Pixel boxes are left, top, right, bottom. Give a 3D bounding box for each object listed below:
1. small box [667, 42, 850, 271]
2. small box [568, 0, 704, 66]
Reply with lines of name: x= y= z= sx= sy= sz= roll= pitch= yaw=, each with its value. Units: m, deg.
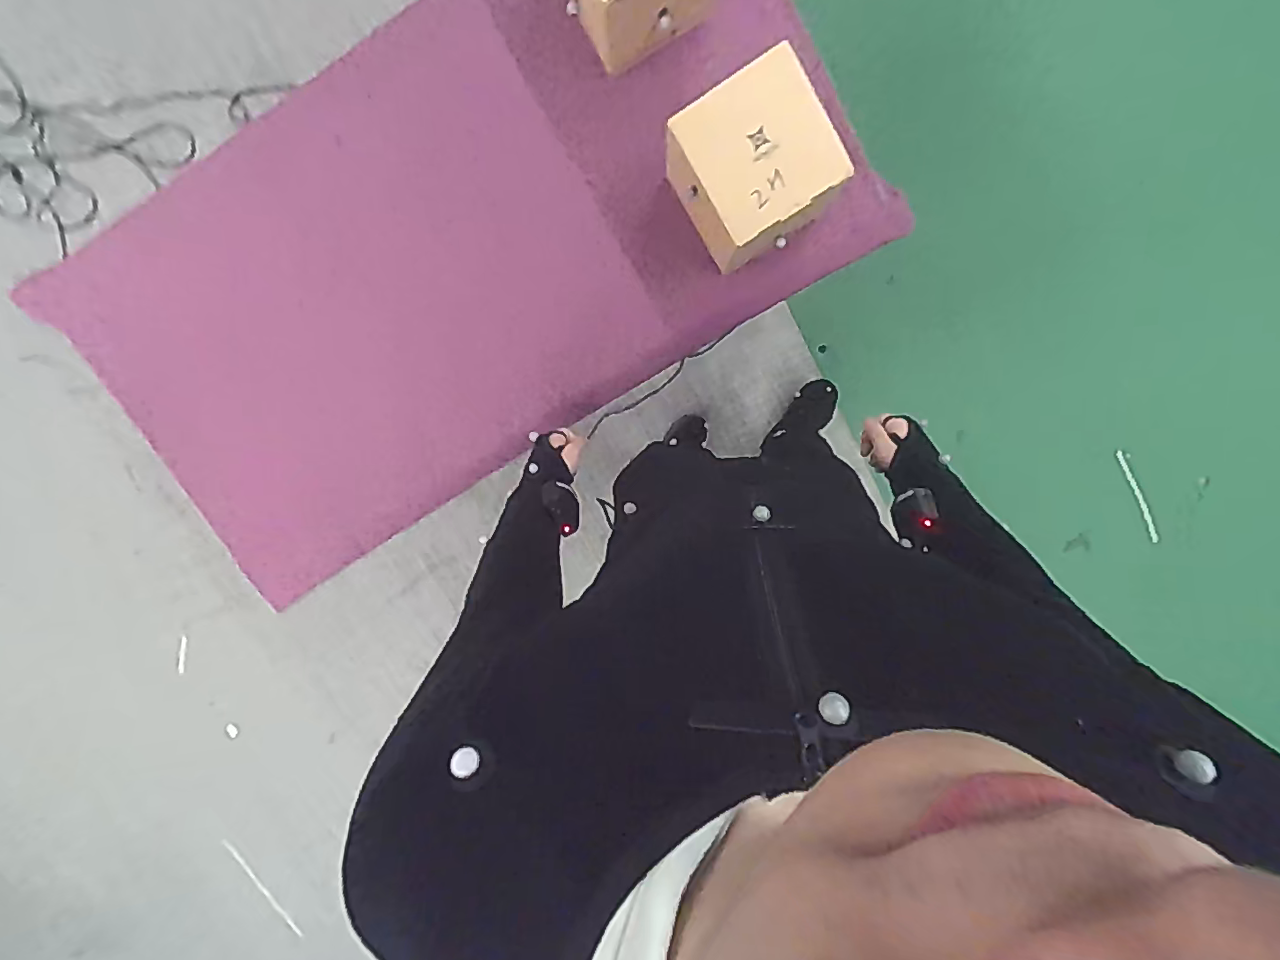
small box: x=0.147 y=-0.416 z=0.733 sx=0.168 sy=0.176 sz=0.179 roll=-30 pitch=96 yaw=8
small box: x=-0.018 y=-0.684 z=0.695 sx=0.168 sy=0.176 sz=0.179 roll=-29 pitch=100 yaw=6
